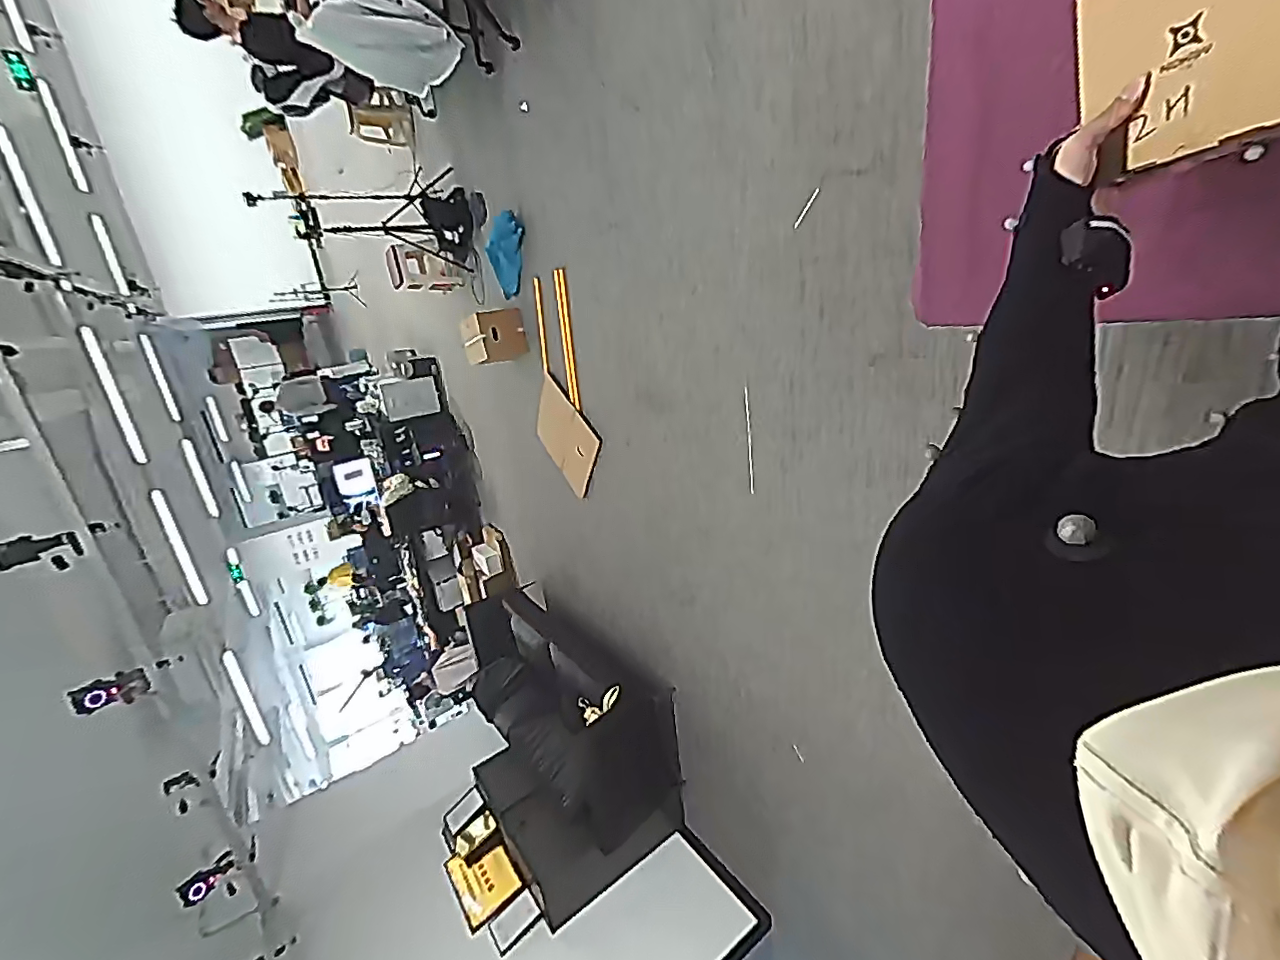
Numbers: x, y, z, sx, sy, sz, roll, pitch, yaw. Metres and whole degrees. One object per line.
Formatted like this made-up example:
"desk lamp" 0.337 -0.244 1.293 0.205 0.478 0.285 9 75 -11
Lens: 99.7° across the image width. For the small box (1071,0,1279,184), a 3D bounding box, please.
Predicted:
"small box" 0.537 -0.397 0.491 0.168 0.176 0.179 -156 50 -69
